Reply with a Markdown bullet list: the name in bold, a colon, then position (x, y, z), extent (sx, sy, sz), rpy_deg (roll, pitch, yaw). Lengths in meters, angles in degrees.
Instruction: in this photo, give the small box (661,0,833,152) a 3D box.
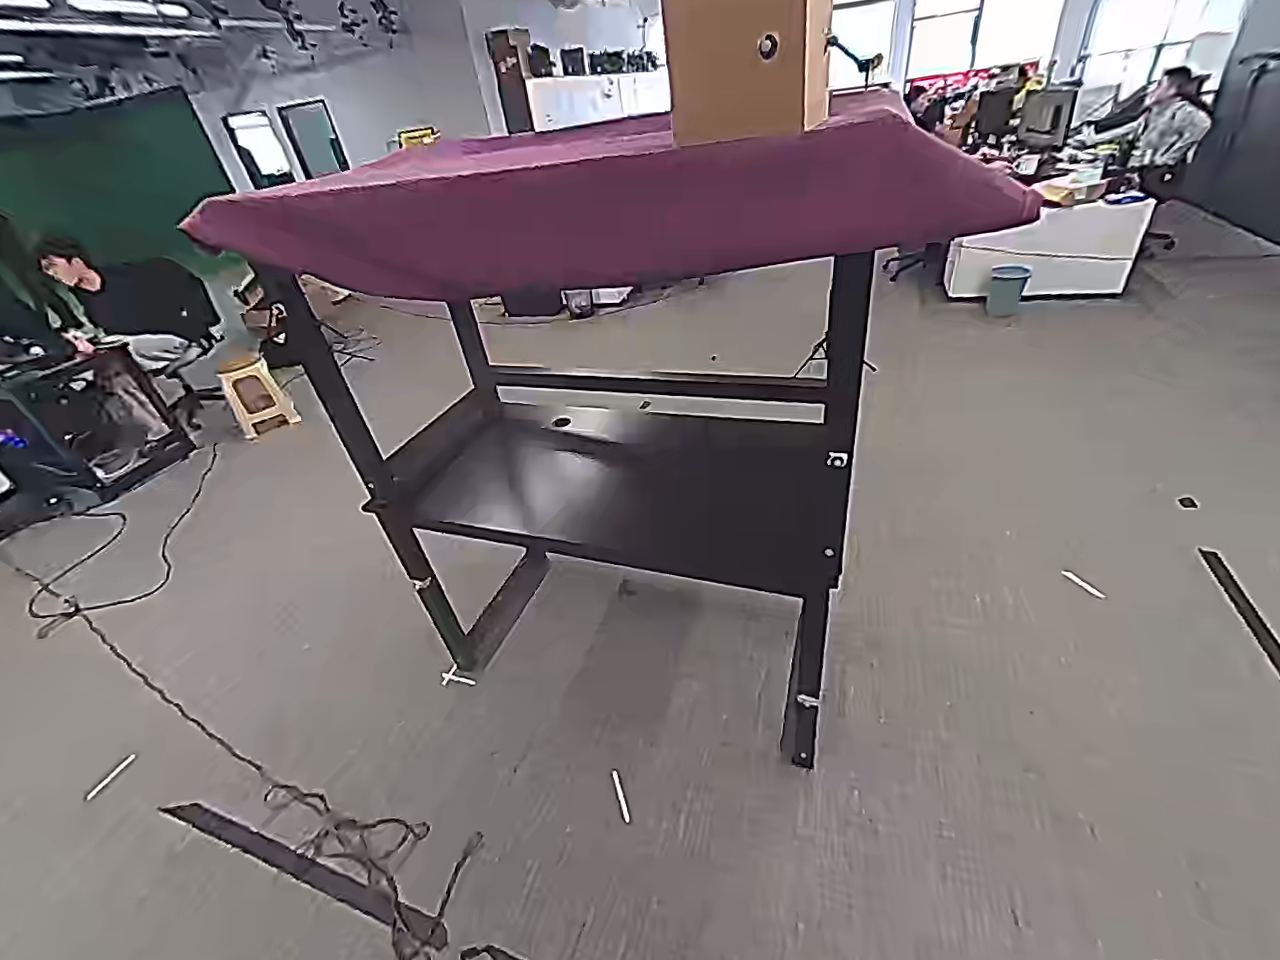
- **small box**: position (0.144, -0.538, 0.697), extent (0.179, 0.176, 0.168), rpy_deg (9, 38, 25)
